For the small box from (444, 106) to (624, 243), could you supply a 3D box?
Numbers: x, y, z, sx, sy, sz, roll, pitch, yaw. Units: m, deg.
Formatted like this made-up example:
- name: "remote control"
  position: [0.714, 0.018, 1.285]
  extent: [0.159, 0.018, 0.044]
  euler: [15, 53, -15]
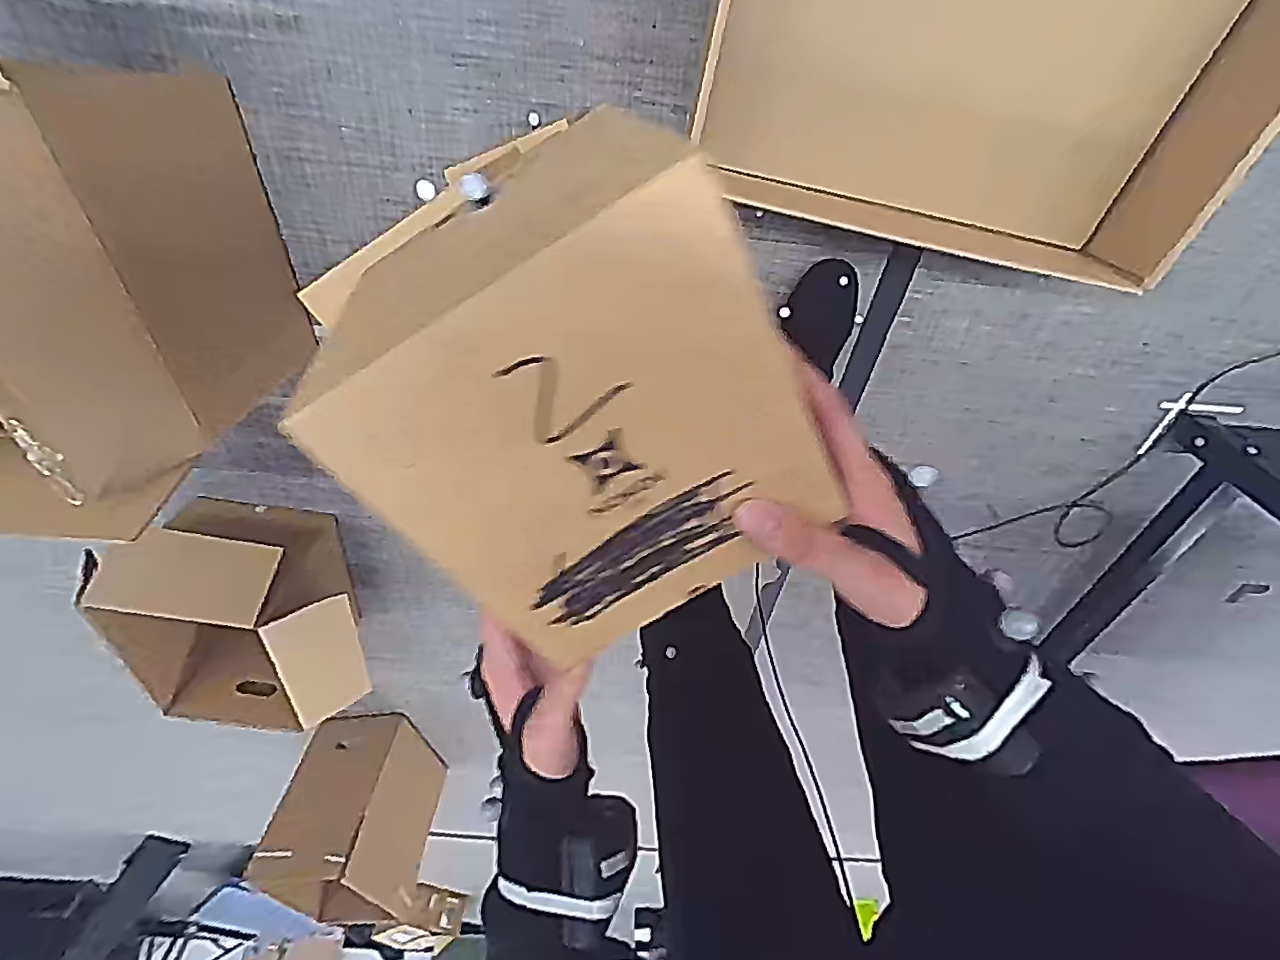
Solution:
- name: "small box"
  position: [-0.127, -0.376, 0.733]
  extent: [0.168, 0.176, 0.179]
  euler: [-14, 126, 13]

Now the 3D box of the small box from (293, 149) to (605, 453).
- name: "small box"
  position: [-0.145, -0.160, 0.484]
  extent: [0.168, 0.176, 0.179]
  euler: [-22, 123, 19]

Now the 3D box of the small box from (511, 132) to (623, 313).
- name: "small box"
  position: [-0.133, -0.261, 0.614]
  extent: [0.179, 0.176, 0.168]
  euler: [-22, 125, 18]
